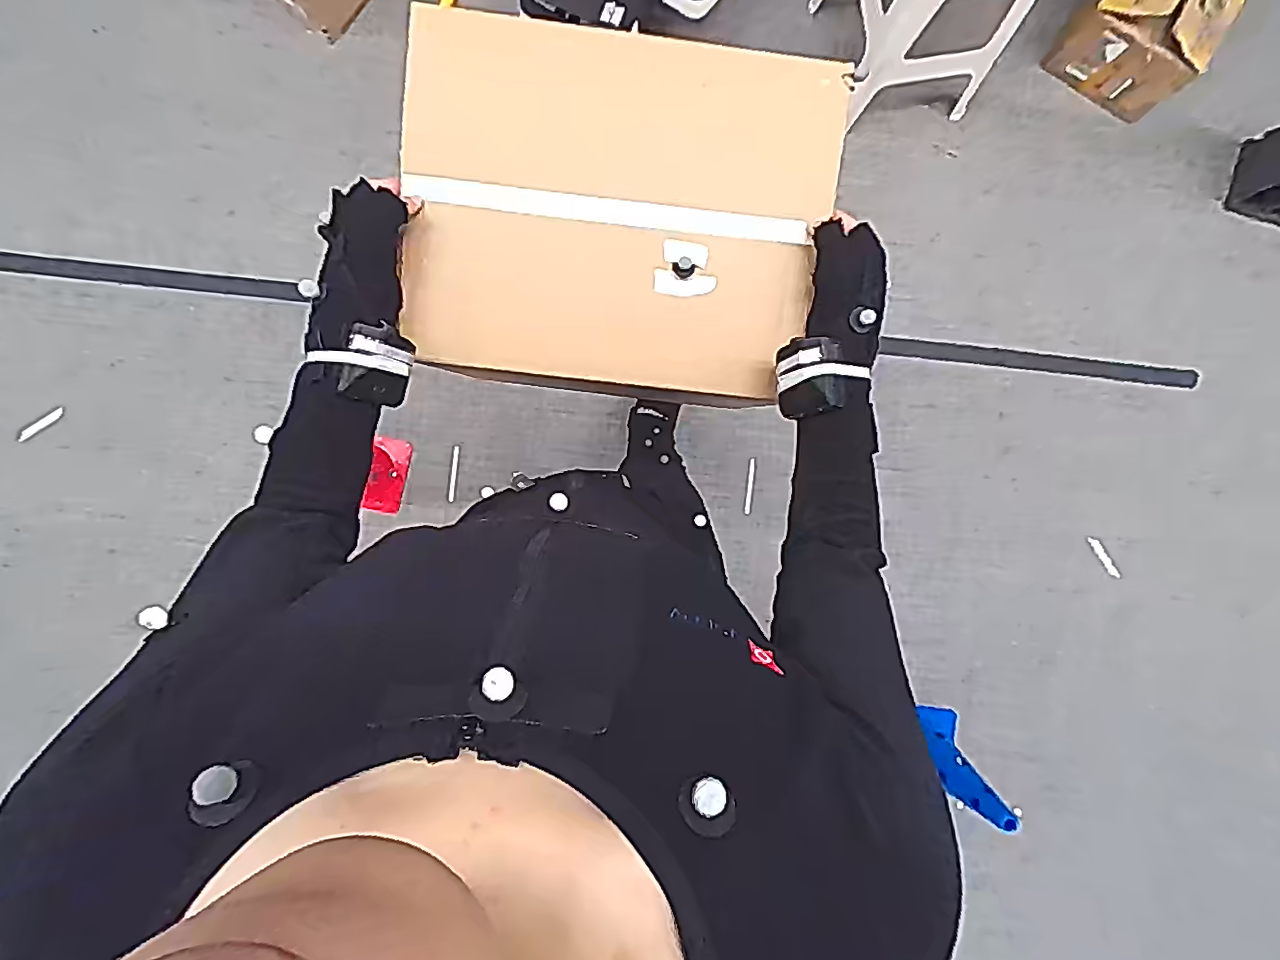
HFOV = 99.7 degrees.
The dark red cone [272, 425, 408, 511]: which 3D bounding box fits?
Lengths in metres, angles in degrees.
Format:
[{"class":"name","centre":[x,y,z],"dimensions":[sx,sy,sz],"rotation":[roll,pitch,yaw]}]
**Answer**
[{"class":"dark red cone","centre":[-0.710,-0.031,1.246],"dimensions":[0.201,0.394,0.202],"rotation":[12,90,-2]}]

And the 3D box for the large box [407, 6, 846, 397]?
[{"class":"large box","centre":[-0.023,-0.279,0.661],"dimensions":[0.408,0.320,0.320],"rotation":[6,97,-3]}]
